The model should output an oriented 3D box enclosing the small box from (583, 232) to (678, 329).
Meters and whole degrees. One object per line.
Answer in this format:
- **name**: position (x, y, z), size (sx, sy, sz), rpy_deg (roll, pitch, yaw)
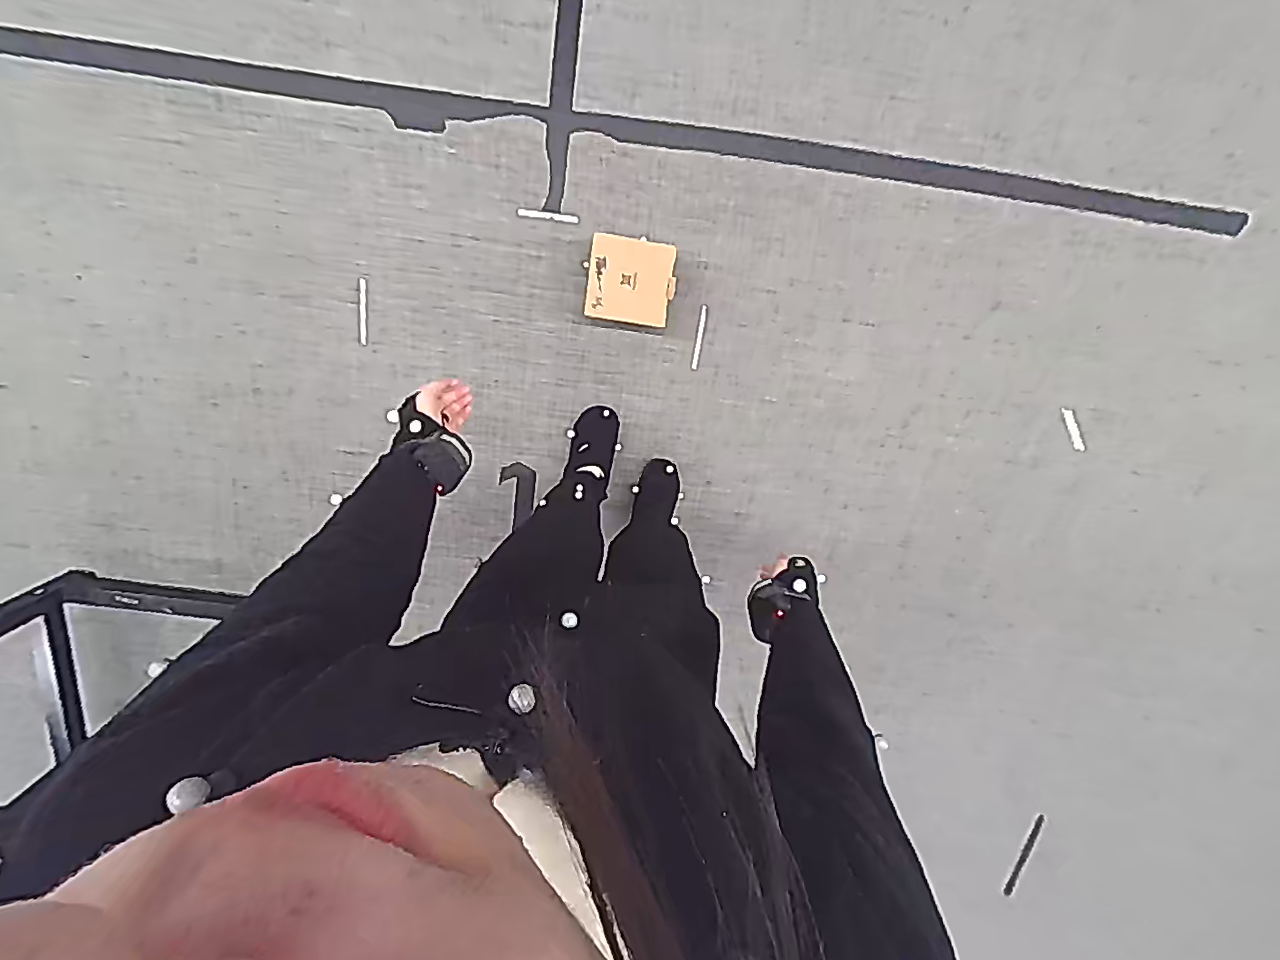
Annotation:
- **small box**: position (-0.025, -0.435, 1.187), size (0.179, 0.176, 0.168), rpy_deg (8, 108, -5)
